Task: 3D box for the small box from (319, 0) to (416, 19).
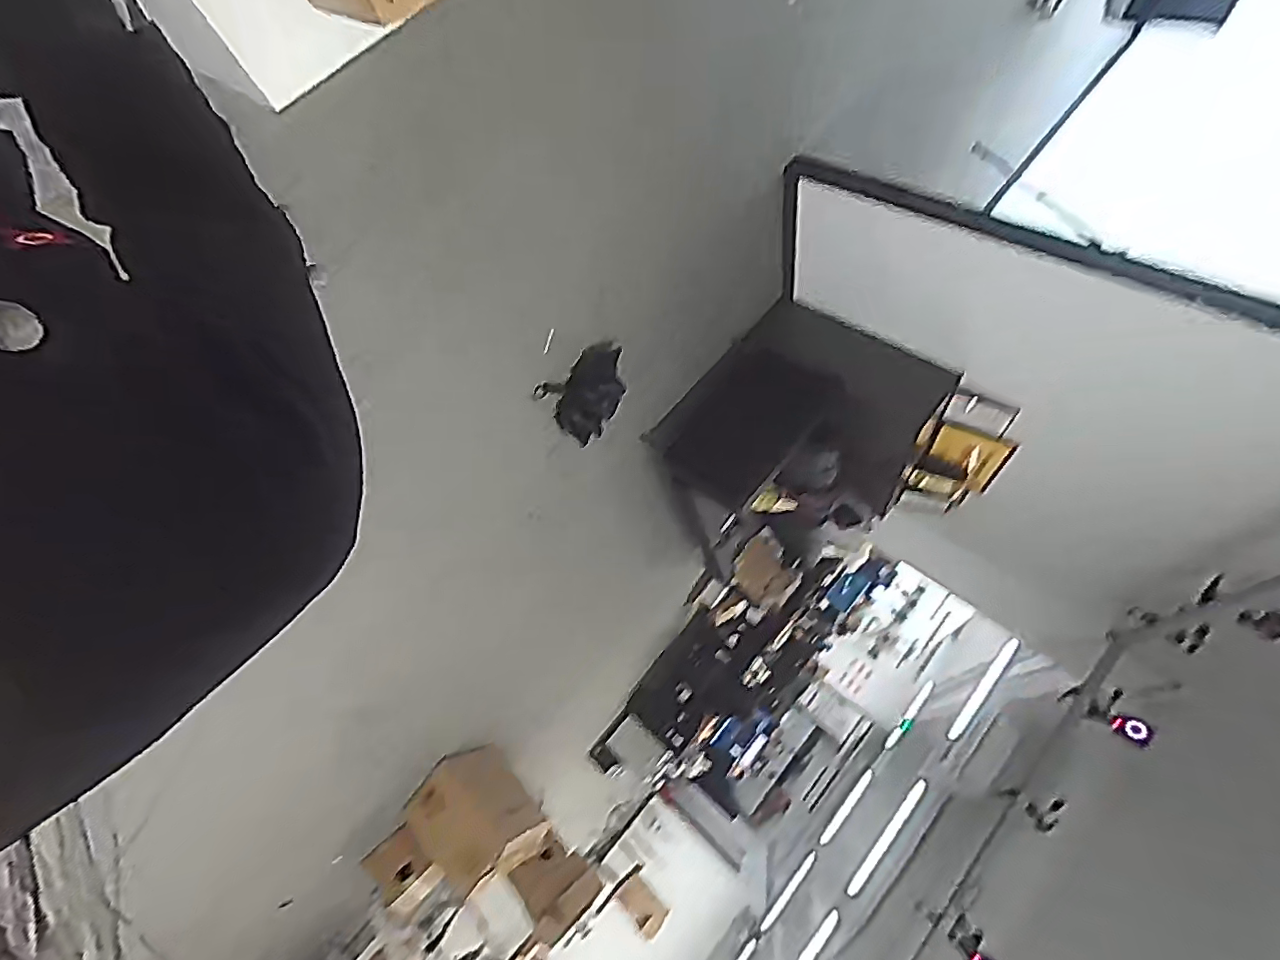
[{"bbox_3d":[-0.281,-0.610,0.541,0.179,0.176,0.168,-46,152,-16],"label":"small box"}]
